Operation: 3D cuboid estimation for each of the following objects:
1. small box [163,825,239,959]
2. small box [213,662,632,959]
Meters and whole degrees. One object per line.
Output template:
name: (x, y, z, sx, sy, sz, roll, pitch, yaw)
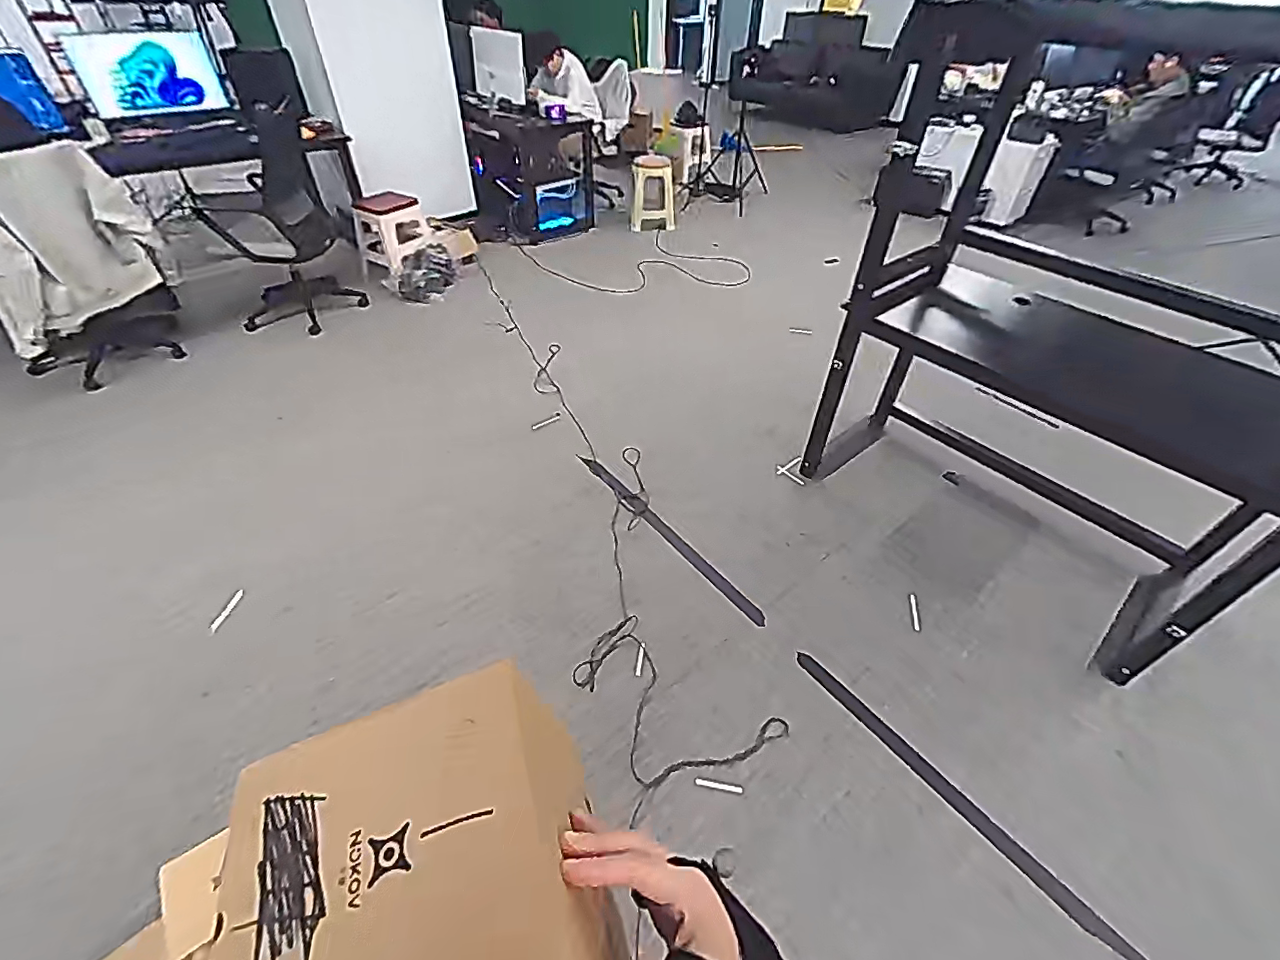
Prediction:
small box: (-0.722, 0.756, 0.992, 0.179, 0.176, 0.168, -26, 49, -27)
small box: (-0.122, 0.254, 0.343, 0.179, 0.176, 0.168, -21, 46, -5)
